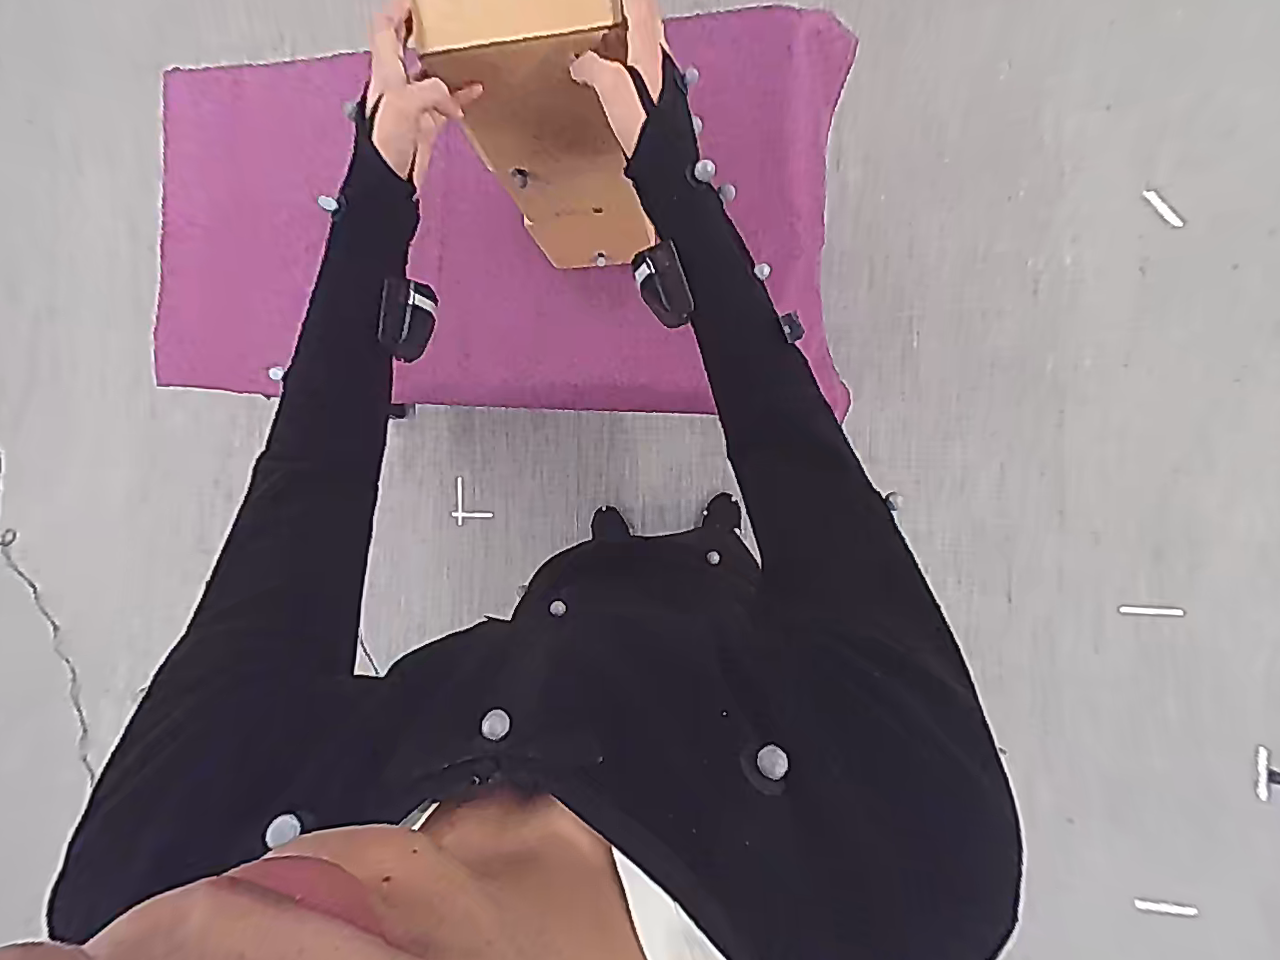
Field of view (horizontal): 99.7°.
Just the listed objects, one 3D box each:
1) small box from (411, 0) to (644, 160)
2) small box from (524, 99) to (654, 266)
[{"bbox_3d":[-0.095,-0.432,0.508,0.179,0.176,0.168,-5,89,4],"label":"small box"},{"bbox_3d":[-0.070,-0.449,0.837,0.179,0.176,0.168,-2,89,7],"label":"small box"}]
